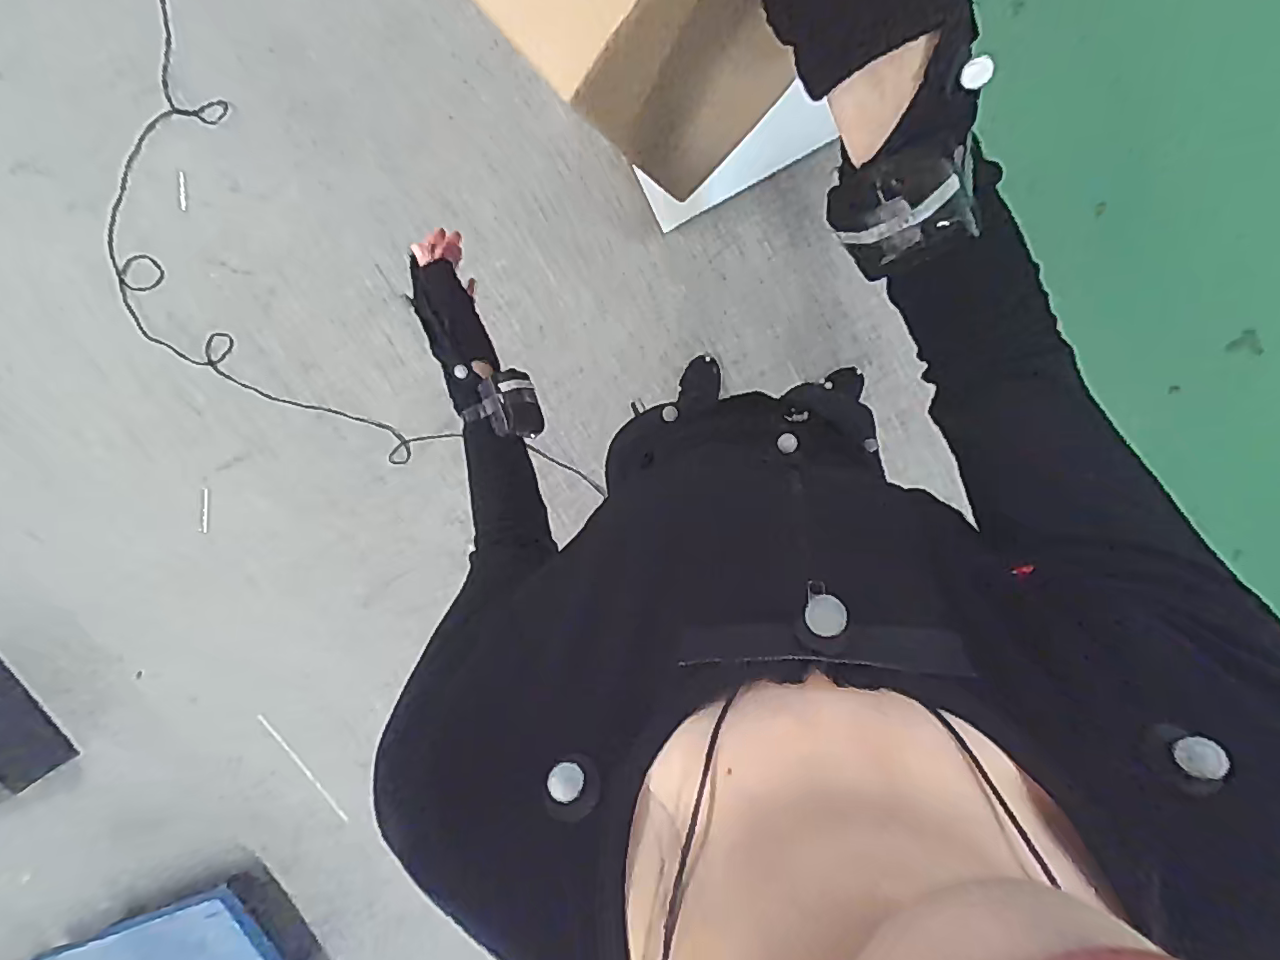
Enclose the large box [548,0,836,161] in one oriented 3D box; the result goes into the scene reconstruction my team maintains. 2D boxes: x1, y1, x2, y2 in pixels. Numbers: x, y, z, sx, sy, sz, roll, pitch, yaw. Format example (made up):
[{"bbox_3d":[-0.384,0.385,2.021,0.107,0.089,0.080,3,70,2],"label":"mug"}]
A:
[{"bbox_3d":[0.012,-0.676,0.604,0.320,0.320,0.408,-27,98,9],"label":"large box"}]
